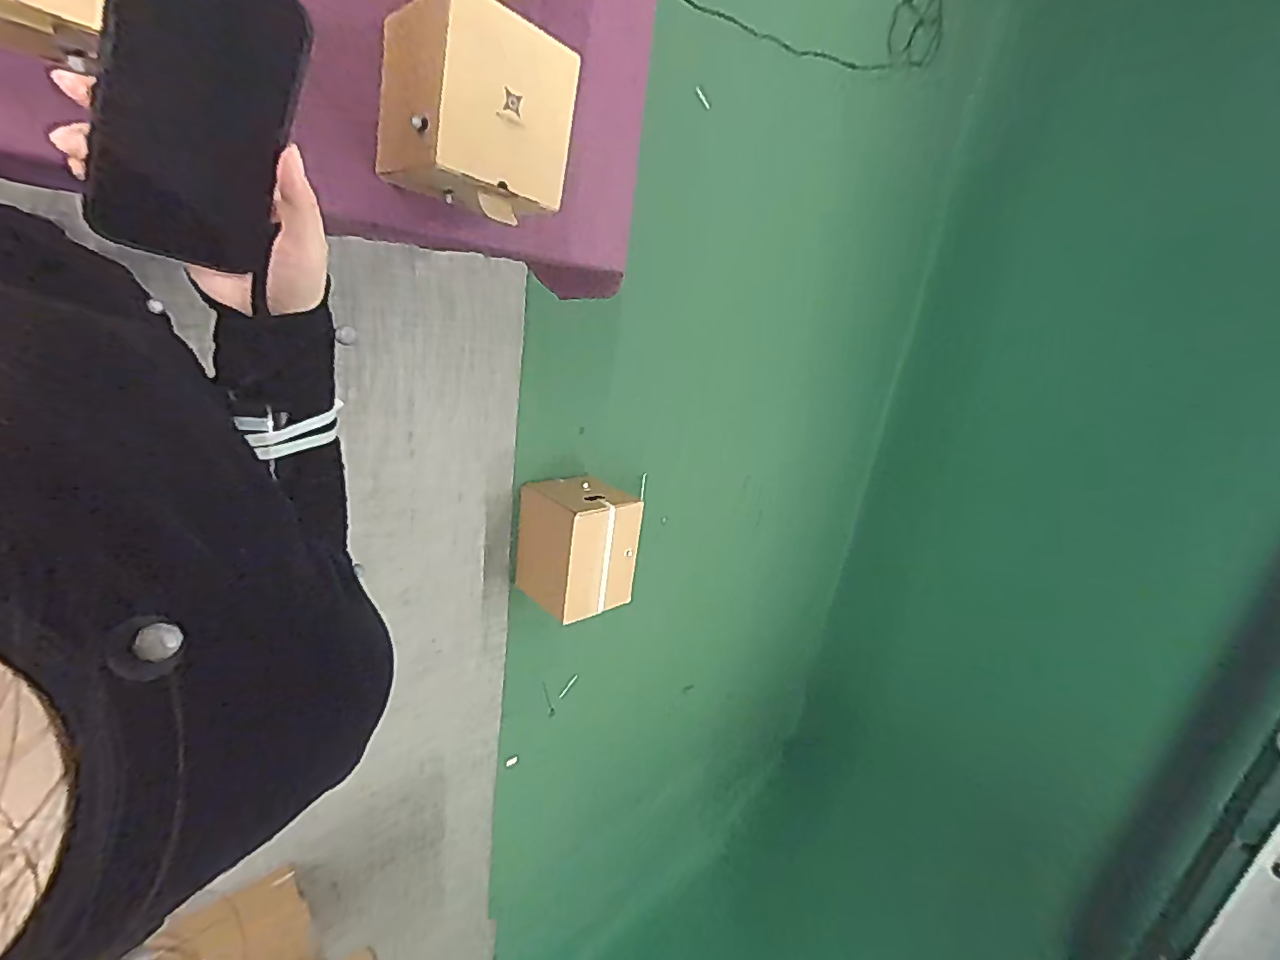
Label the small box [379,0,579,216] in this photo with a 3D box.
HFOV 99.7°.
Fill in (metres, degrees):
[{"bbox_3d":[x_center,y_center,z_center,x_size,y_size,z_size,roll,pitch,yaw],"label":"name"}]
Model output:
[{"bbox_3d":[-0.200,-0.437,0.656,0.168,0.176,0.179,-4,111,-45],"label":"small box"}]
